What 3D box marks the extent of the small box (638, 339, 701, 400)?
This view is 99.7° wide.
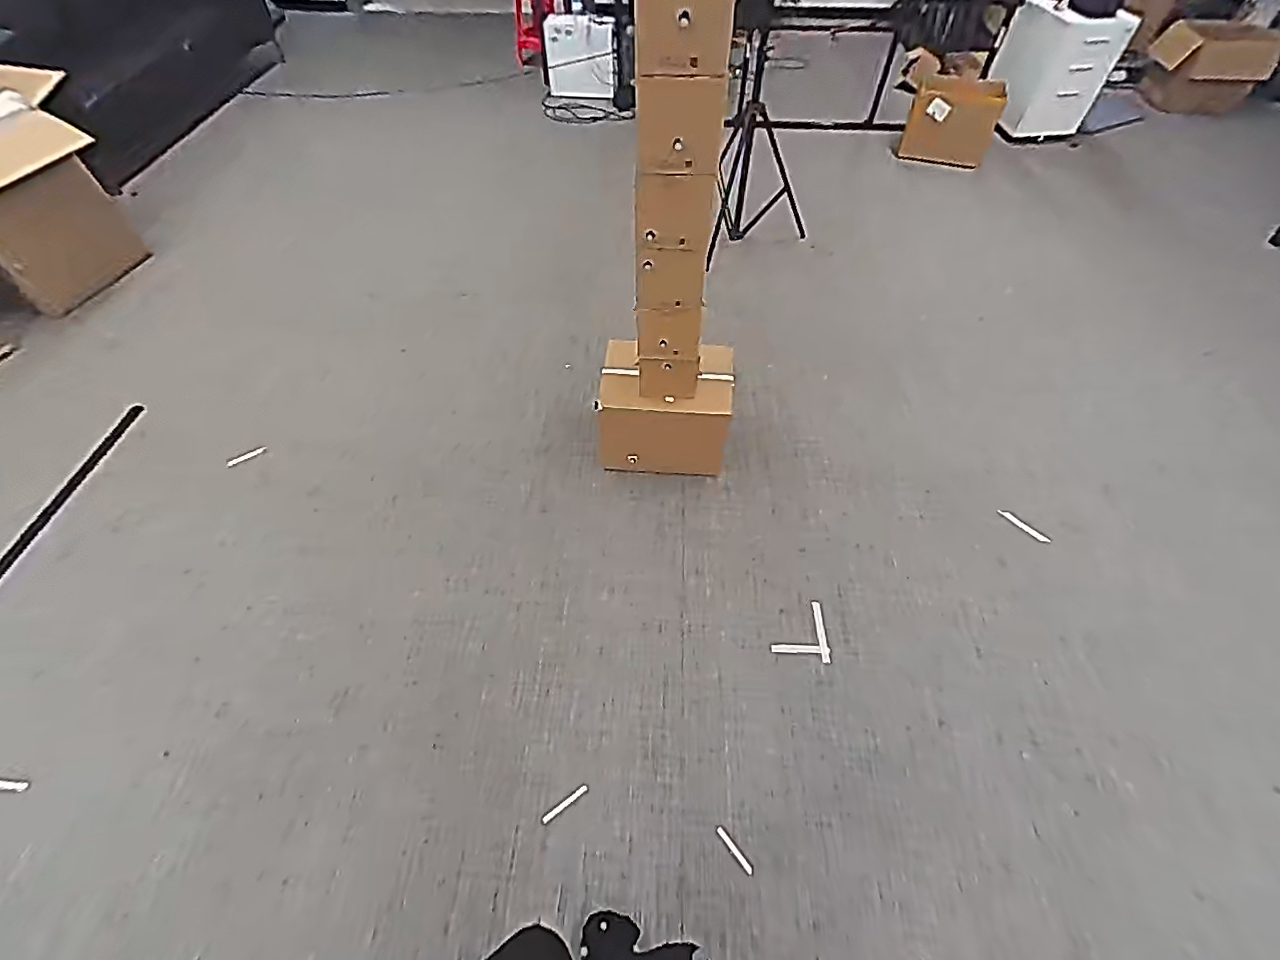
[{"bbox_3d":[0.086,-0.353,1.612,0.179,0.176,0.168,2,55,1],"label":"small box"}]

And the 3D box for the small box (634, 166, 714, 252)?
[{"bbox_3d":[0.078,-0.631,1.208,0.168,0.176,0.179,4,54,3],"label":"small box"}]

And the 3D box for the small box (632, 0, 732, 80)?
[{"bbox_3d":[0.072,-0.824,0.942,0.168,0.176,0.179,1,56,1],"label":"small box"}]

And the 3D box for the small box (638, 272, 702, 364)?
[{"bbox_3d":[0.080,-0.442,1.476,0.168,0.176,0.179,2,55,2],"label":"small box"}]

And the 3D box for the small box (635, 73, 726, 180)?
[{"bbox_3d":[0.077,-0.725,1.073,0.168,0.176,0.179,2,55,2],"label":"small box"}]
